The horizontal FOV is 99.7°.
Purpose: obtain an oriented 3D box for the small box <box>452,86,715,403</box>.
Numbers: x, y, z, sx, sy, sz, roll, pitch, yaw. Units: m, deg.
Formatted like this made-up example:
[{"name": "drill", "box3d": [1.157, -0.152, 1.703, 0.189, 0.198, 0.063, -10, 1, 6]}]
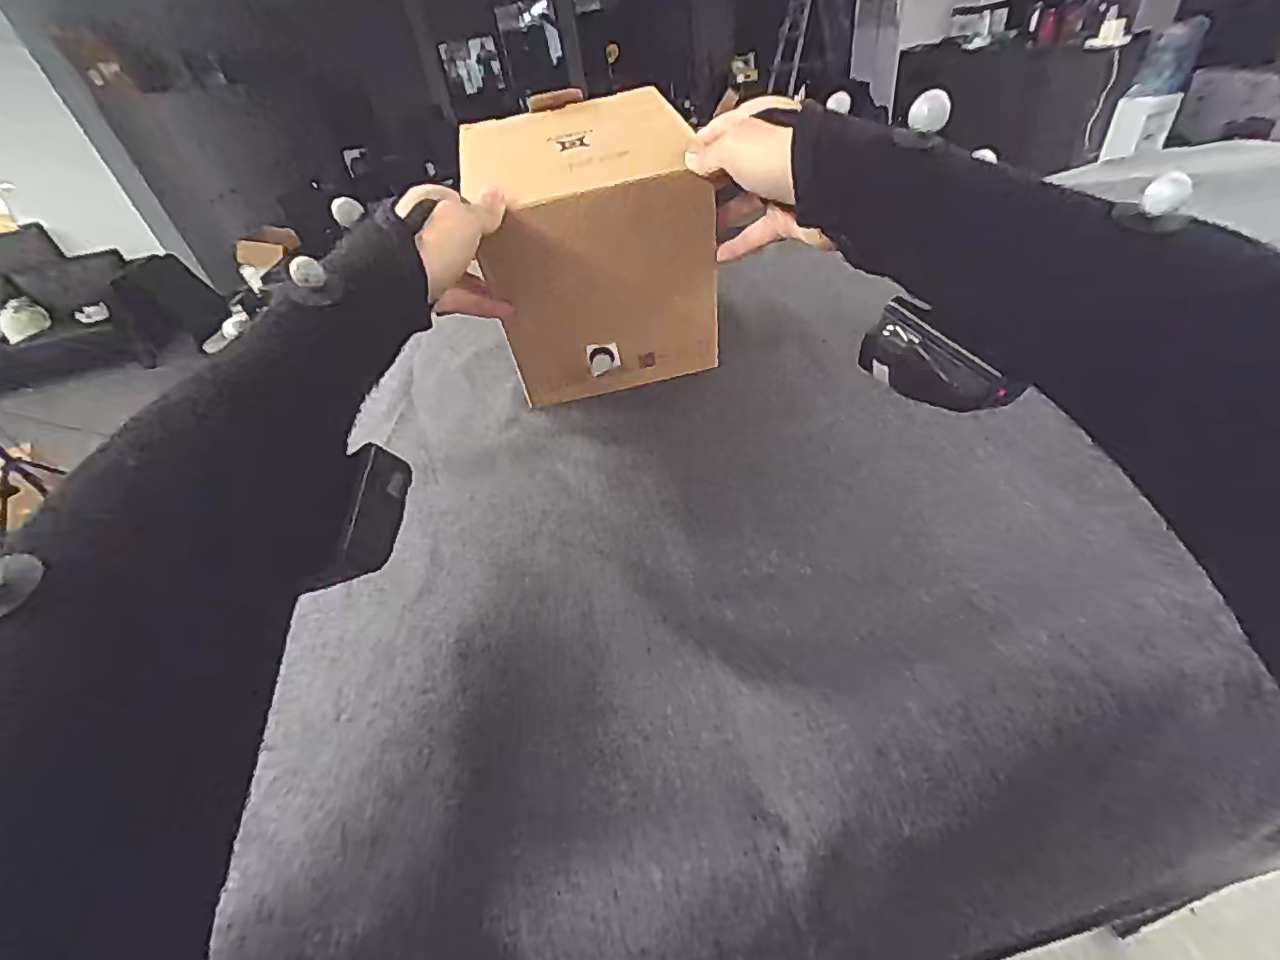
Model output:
[{"name": "small box", "box3d": [-0.041, -0.192, 0.445, 0.168, 0.176, 0.179, -14, 49, -2]}]
